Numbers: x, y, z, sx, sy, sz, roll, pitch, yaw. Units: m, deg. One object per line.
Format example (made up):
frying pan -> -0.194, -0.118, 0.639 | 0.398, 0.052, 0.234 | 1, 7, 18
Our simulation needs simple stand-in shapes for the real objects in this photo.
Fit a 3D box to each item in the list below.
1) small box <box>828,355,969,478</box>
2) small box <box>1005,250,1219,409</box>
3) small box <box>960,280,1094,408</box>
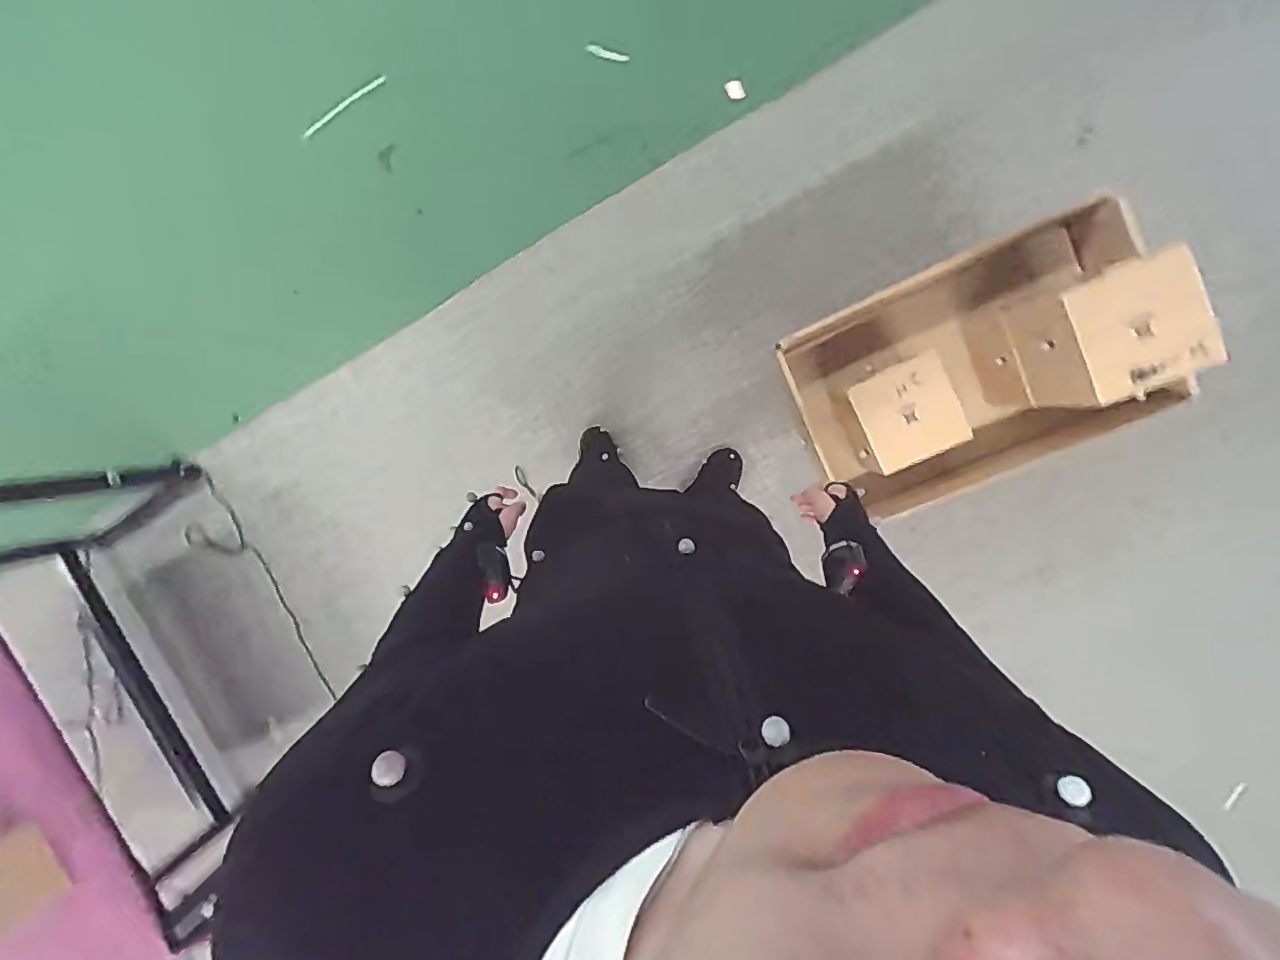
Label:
small box -> 0.488, -0.122, 1.045 | 0.168, 0.176, 0.179 | -25, 93, 9
small box -> 0.714, -0.219, 0.842 | 0.168, 0.176, 0.179 | -22, 93, 11
small box -> 0.733, -0.240, 1.004 | 0.168, 0.176, 0.179 | -21, 95, 10
